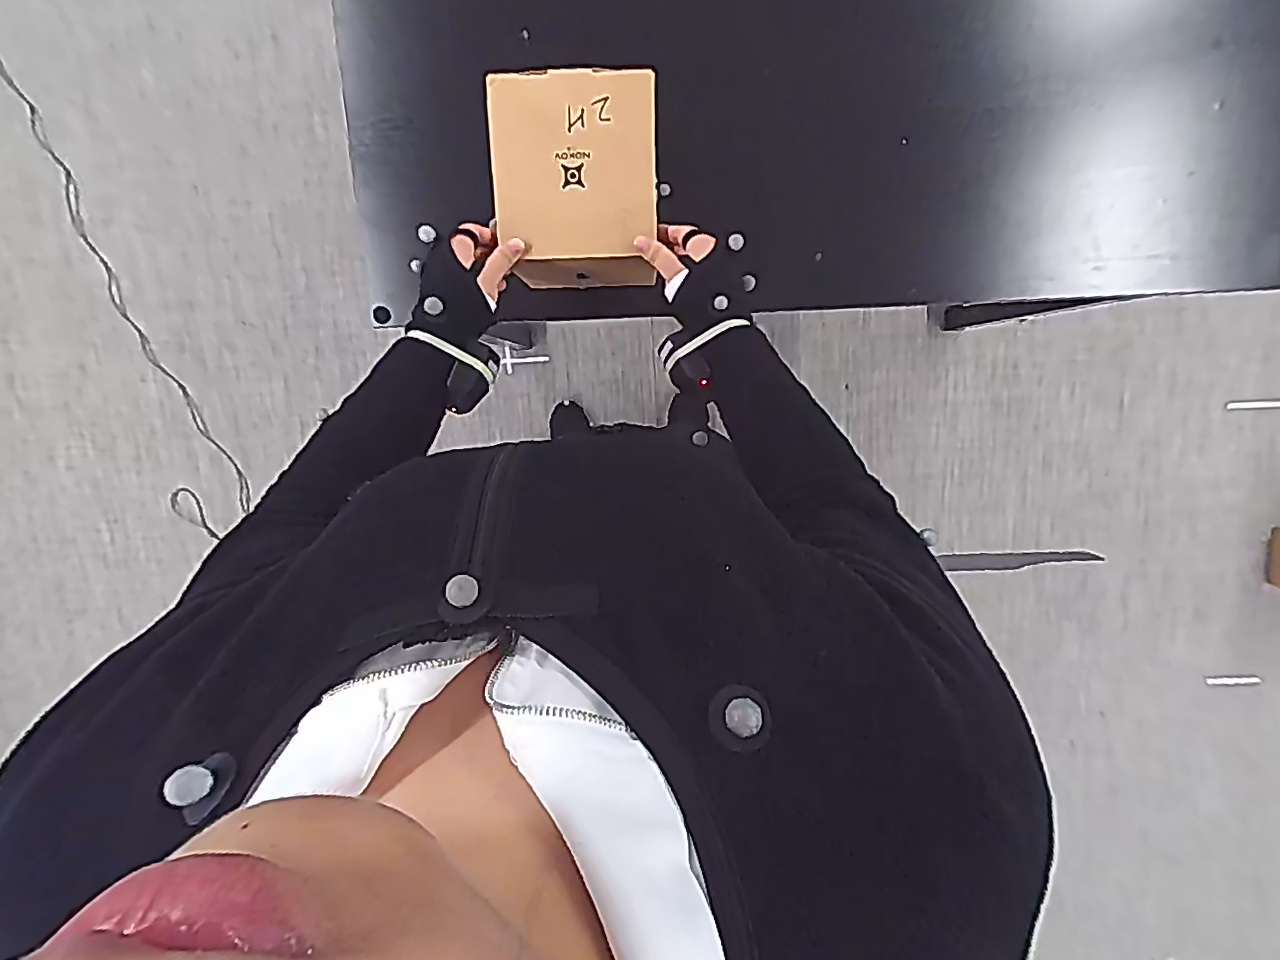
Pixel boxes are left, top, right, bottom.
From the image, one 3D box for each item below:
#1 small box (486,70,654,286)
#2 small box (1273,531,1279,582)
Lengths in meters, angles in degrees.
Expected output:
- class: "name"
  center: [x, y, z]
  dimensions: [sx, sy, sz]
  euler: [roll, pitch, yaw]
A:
- class: "small box"
  center: [-0.067, -0.326, 0.622]
  dimensions: [0.168, 0.176, 0.179]
  euler: [-2, 99, 1]
- class: "small box"
  center: [1.832, 0.219, 1.410]
  dimensions: [0.168, 0.176, 0.179]
  euler: [-3, 99, 1]
